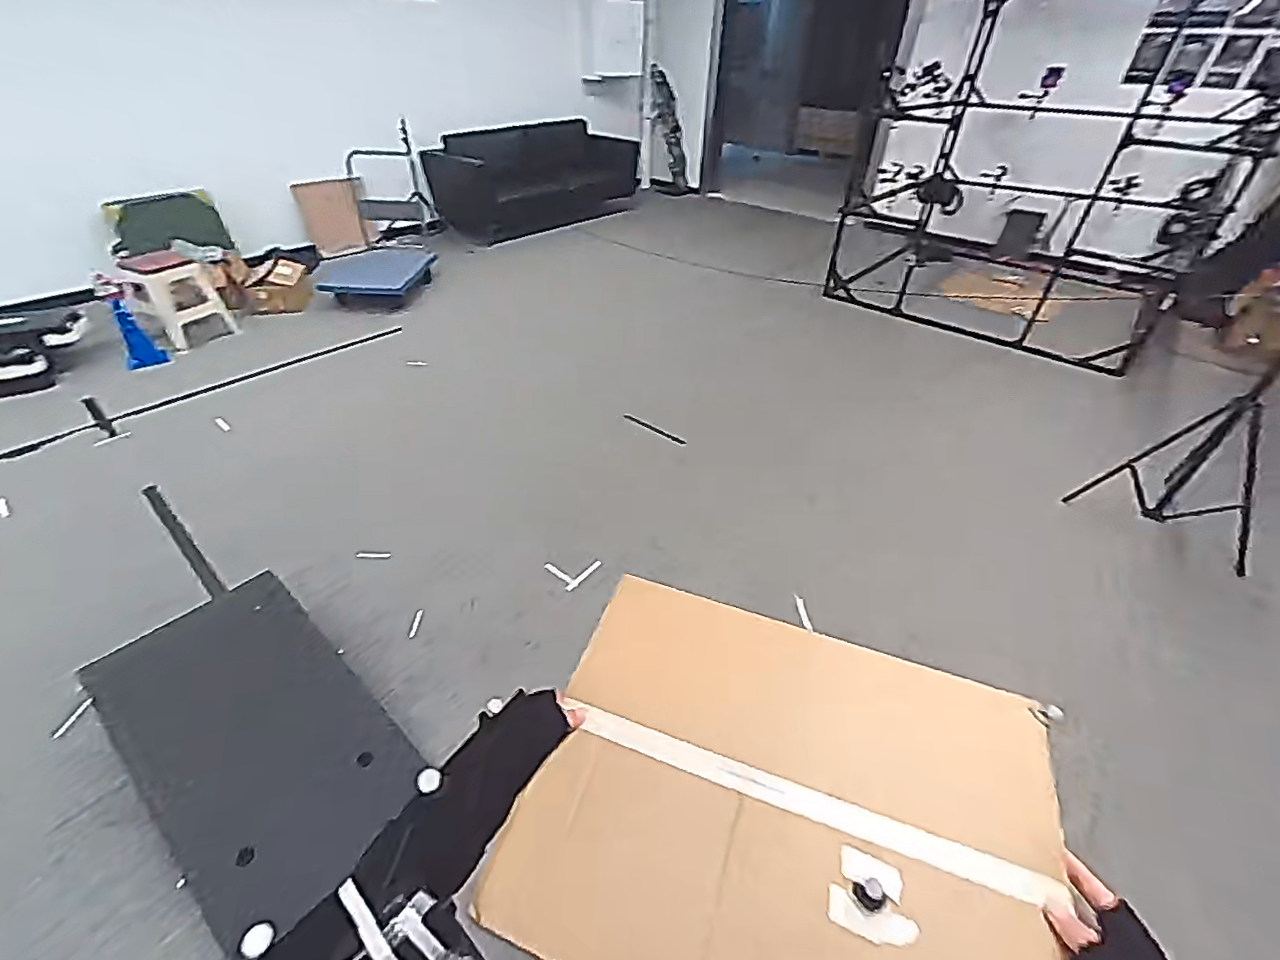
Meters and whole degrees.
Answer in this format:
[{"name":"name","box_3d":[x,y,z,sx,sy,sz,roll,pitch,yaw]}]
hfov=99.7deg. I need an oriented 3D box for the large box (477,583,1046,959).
[{"name":"large box","box_3d":[0.109,0.364,0.558,0.408,0.320,0.320,14,47,14]}]
